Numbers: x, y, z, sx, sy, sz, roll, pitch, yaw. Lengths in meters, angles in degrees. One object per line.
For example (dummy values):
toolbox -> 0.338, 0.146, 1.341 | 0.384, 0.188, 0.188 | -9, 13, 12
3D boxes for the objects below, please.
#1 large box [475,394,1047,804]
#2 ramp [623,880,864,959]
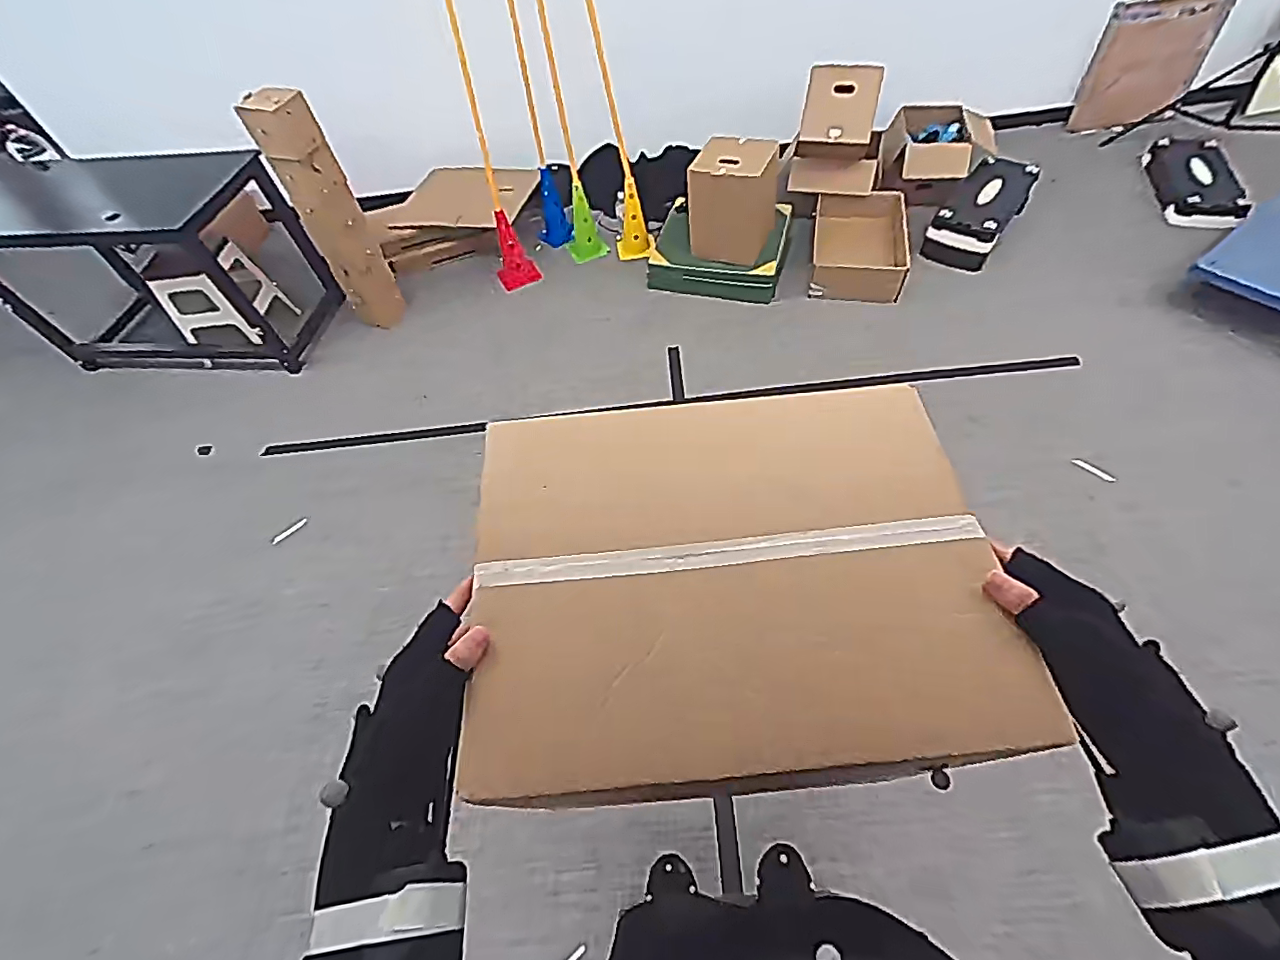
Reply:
large box -> 0.080, 0.144, 0.571 | 0.408, 0.320, 0.320 | -6, 57, 0
ramp -> 0.241, 1.333, 0.960 | 0.509, 0.206, 0.991 | -6, 55, 1
